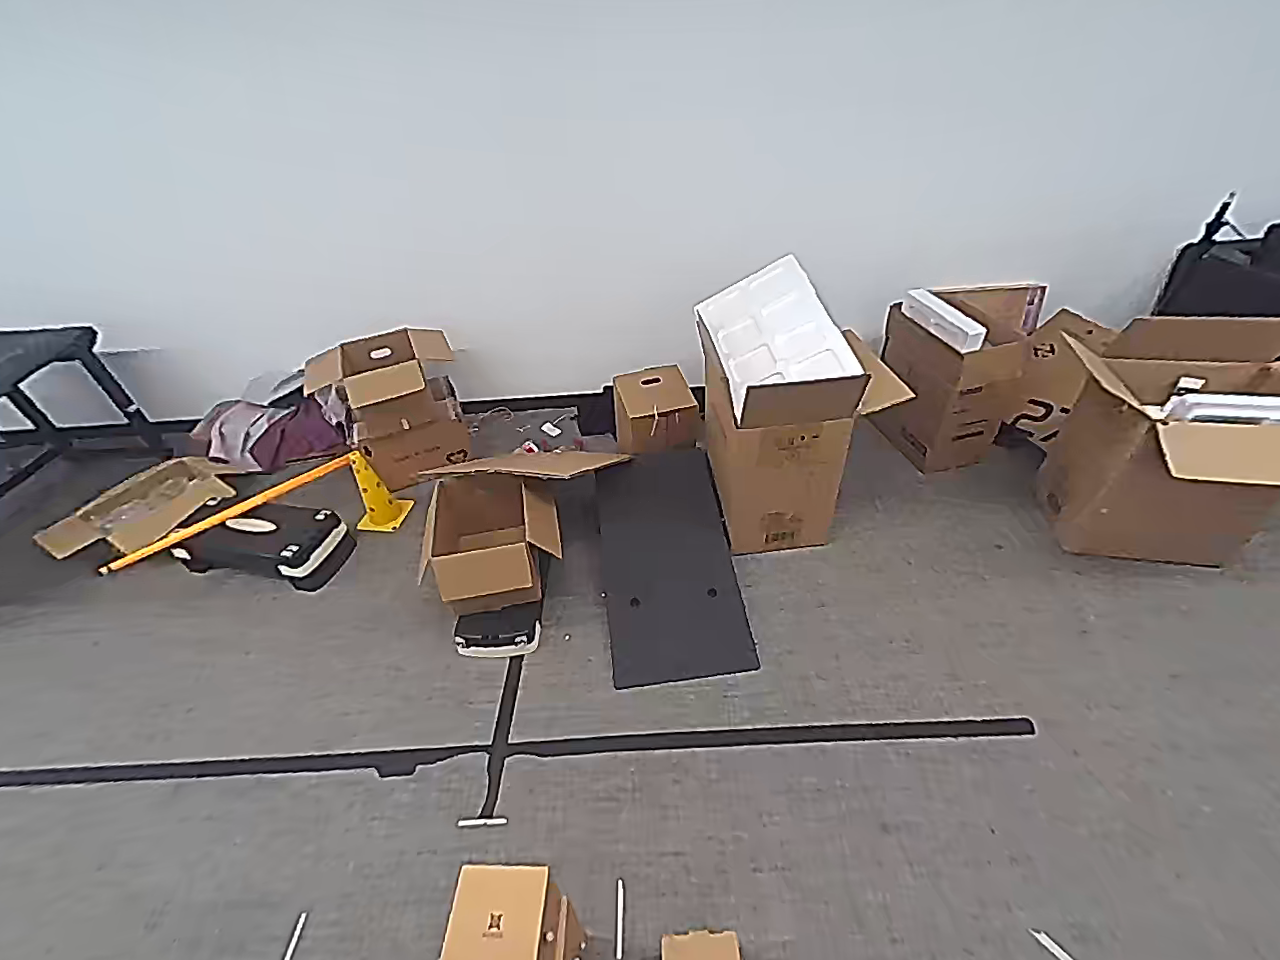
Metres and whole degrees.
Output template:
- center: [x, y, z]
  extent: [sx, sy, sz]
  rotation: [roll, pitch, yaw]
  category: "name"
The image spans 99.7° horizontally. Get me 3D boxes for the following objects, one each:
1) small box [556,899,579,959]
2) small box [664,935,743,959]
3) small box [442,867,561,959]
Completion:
- center: [-0.223, 0.956, 1.072]
  extent: [0.179, 0.176, 0.168]
  rotation: [-2, 40, 1]
  category: "small box"
- center: [0.138, 1.091, 1.137]
  extent: [0.168, 0.176, 0.179]
  rotation: [-5, 41, 2]
  category: "small box"
- center: [-0.242, 0.828, 0.974]
  extent: [0.168, 0.176, 0.179]
  rotation: [-1, 40, 3]
  category: "small box"
